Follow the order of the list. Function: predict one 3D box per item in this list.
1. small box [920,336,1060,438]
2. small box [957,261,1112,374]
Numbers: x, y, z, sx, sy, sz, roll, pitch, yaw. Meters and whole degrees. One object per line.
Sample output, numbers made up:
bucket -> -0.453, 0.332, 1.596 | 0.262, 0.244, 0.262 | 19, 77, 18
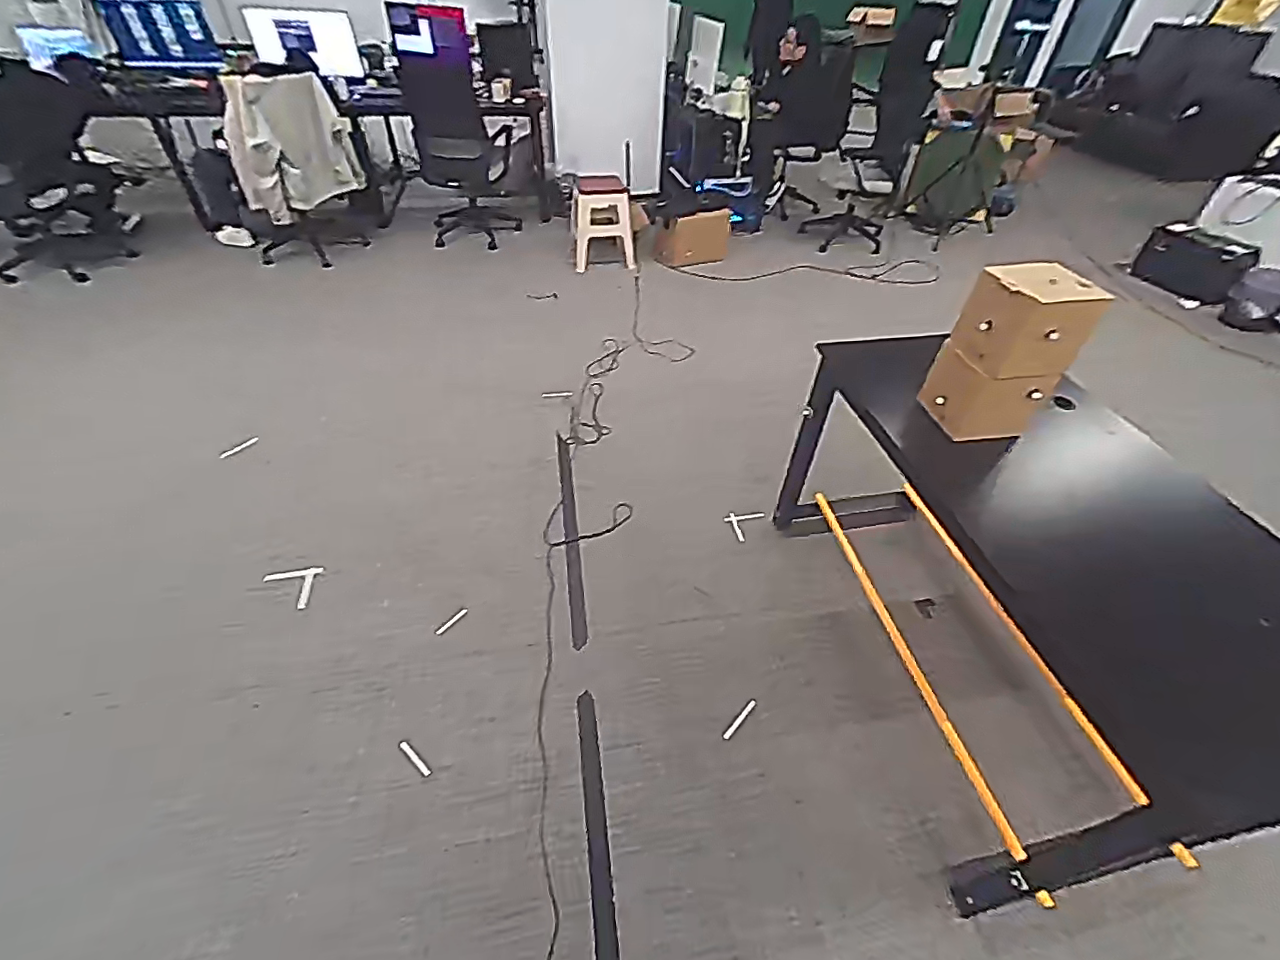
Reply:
small box -> 0.782, -0.213, 1.230 | 0.179, 0.176, 0.168 | -5, 44, -7
small box -> 0.794, -0.333, 1.119 | 0.179, 0.176, 0.168 | -8, 45, -9
